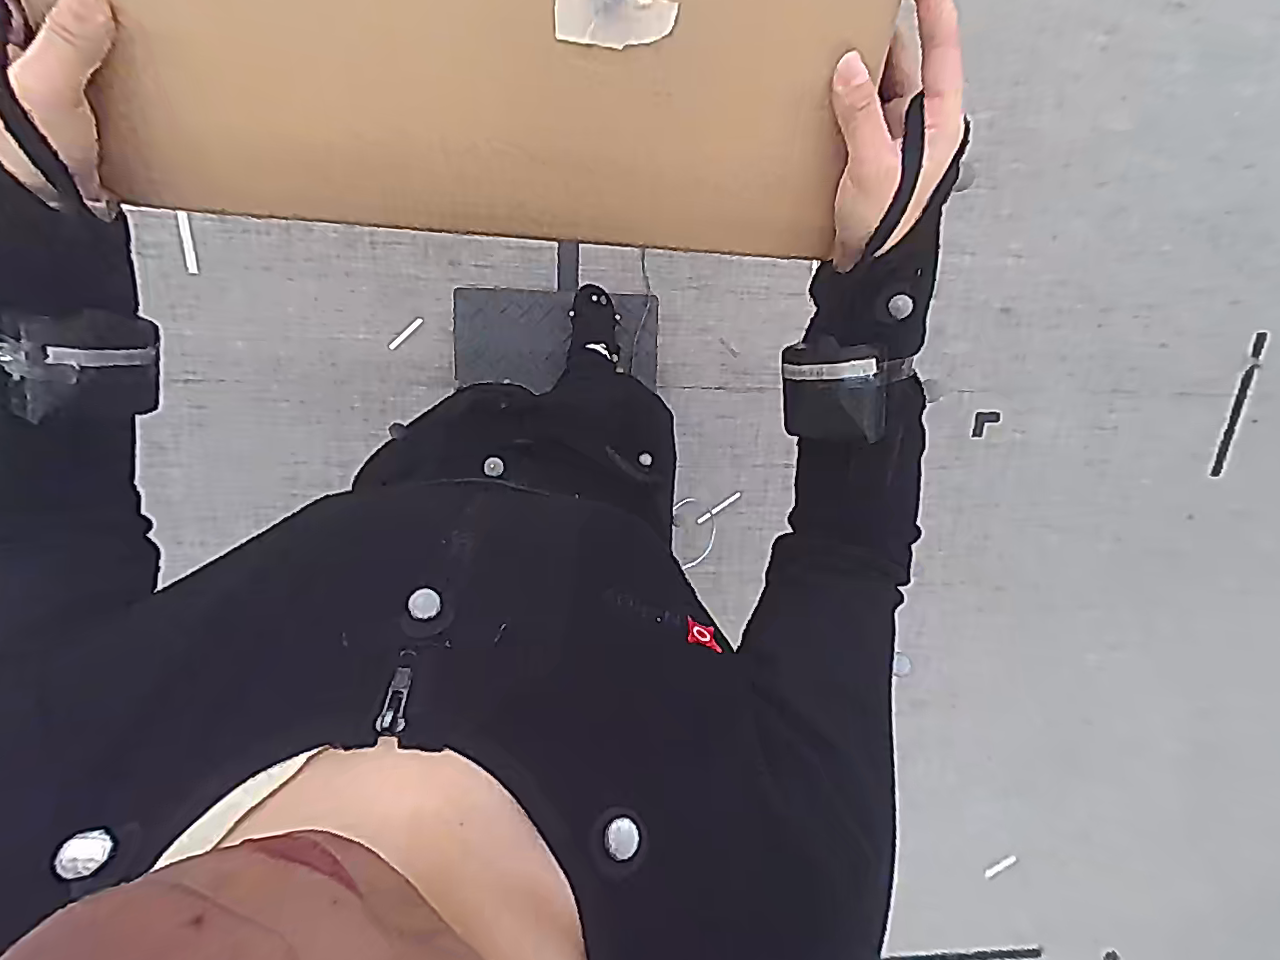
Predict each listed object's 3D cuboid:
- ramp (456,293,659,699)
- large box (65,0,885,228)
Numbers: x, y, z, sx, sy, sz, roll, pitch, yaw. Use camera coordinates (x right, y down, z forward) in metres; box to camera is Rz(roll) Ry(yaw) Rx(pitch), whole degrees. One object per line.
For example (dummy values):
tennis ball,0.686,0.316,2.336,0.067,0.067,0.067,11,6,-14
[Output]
ramp,-0.207,0.052,1.339,0.509,0.206,0.991,0,103,-3
large box,-0.078,-0.365,0.361,0.408,0.320,0.320,3,122,-5
